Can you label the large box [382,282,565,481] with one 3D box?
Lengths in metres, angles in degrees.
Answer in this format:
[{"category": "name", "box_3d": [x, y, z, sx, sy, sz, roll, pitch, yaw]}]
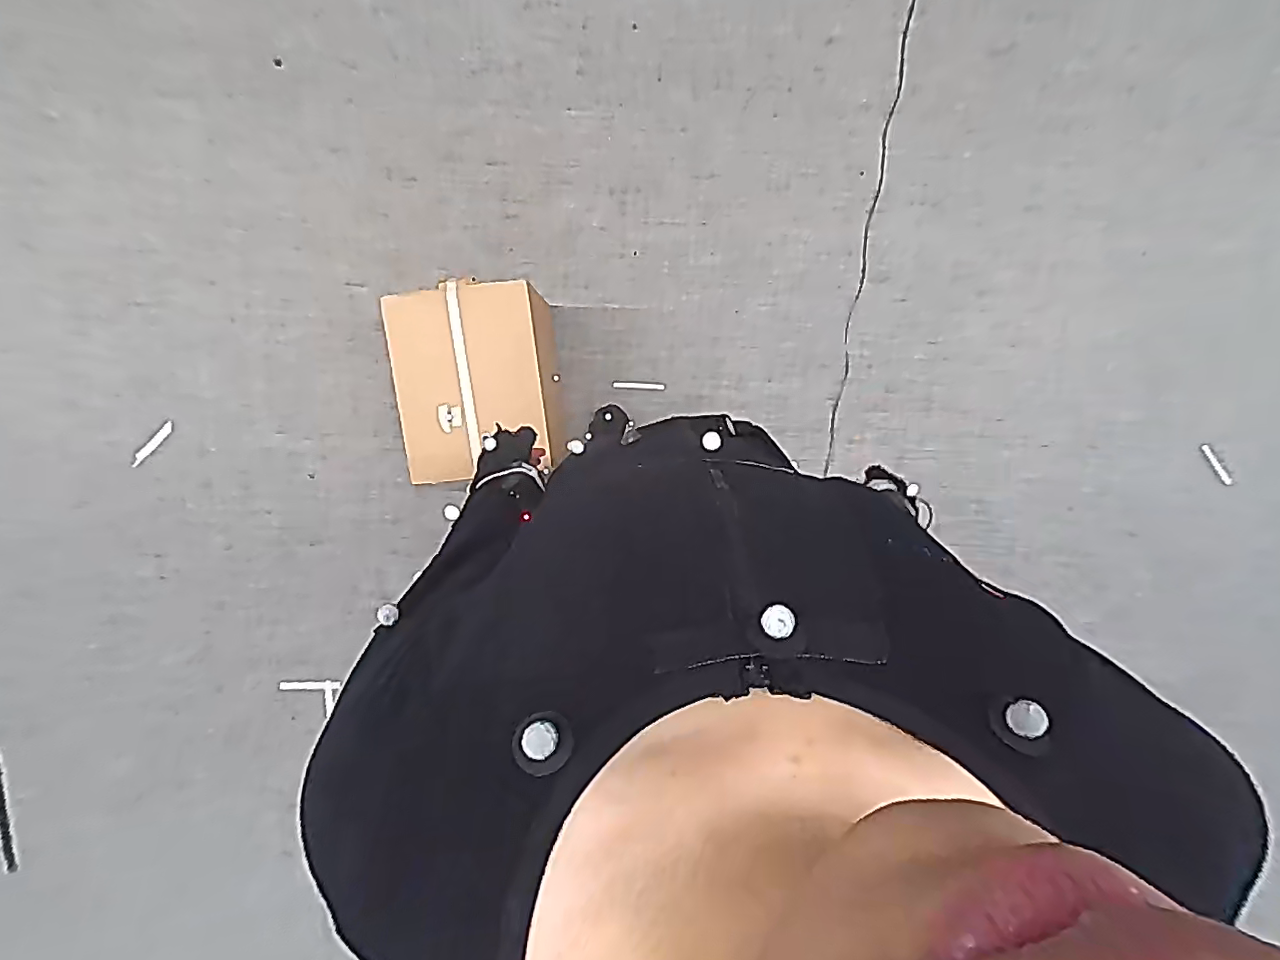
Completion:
[{"category": "large box", "box_3d": [-0.376, -0.232, 1.323, 0.320, 0.320, 0.408, -6, 99, 1]}]
